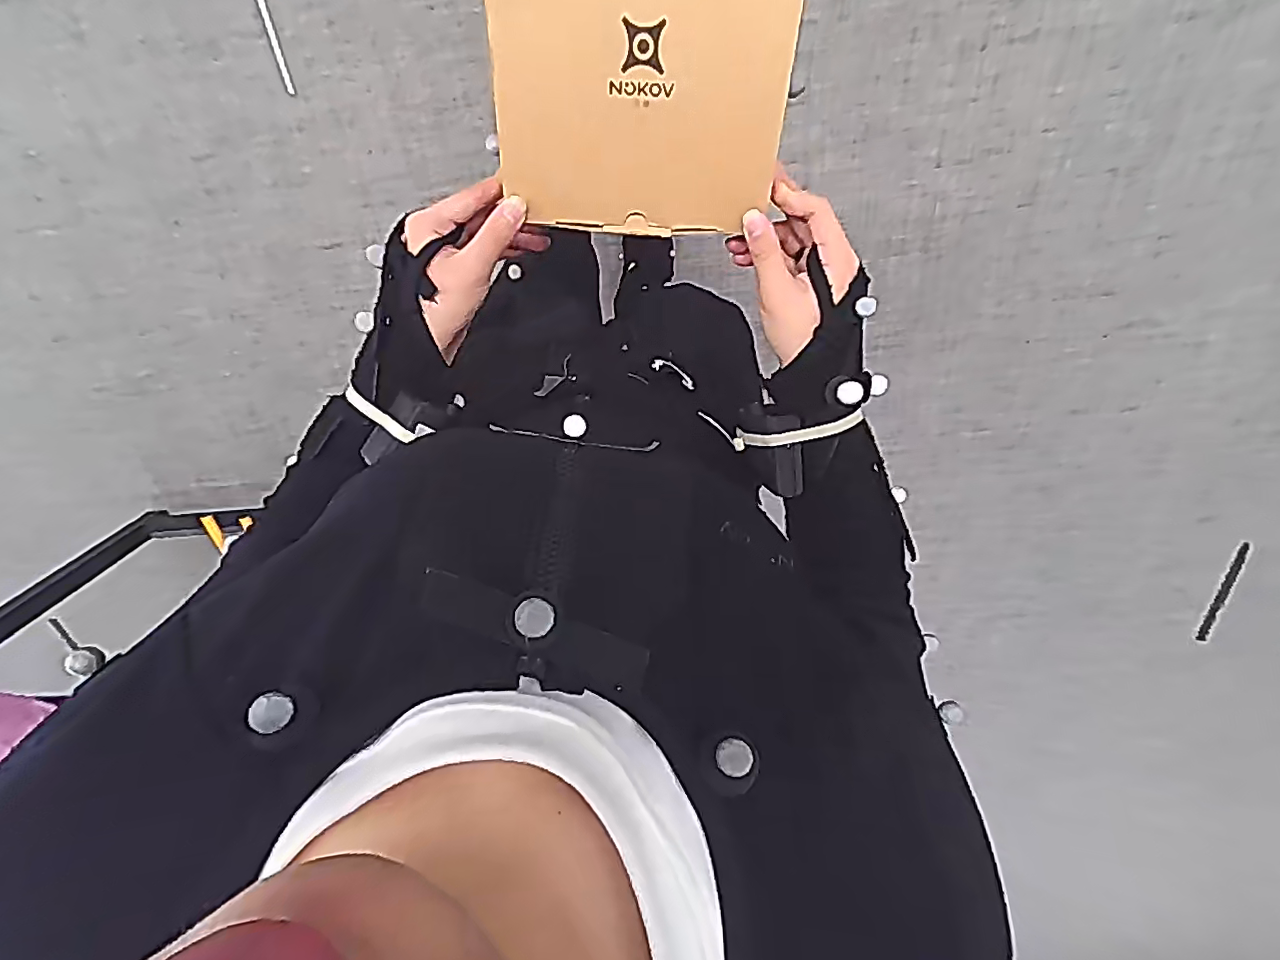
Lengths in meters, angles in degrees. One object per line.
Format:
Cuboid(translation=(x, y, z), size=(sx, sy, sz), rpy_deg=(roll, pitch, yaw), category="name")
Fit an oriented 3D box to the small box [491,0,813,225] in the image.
Cuboid(translation=(0.004, -0.278, 0.343), size=(0.168, 0.176, 0.179), rpy_deg=(2, 128, -2), category="small box")
